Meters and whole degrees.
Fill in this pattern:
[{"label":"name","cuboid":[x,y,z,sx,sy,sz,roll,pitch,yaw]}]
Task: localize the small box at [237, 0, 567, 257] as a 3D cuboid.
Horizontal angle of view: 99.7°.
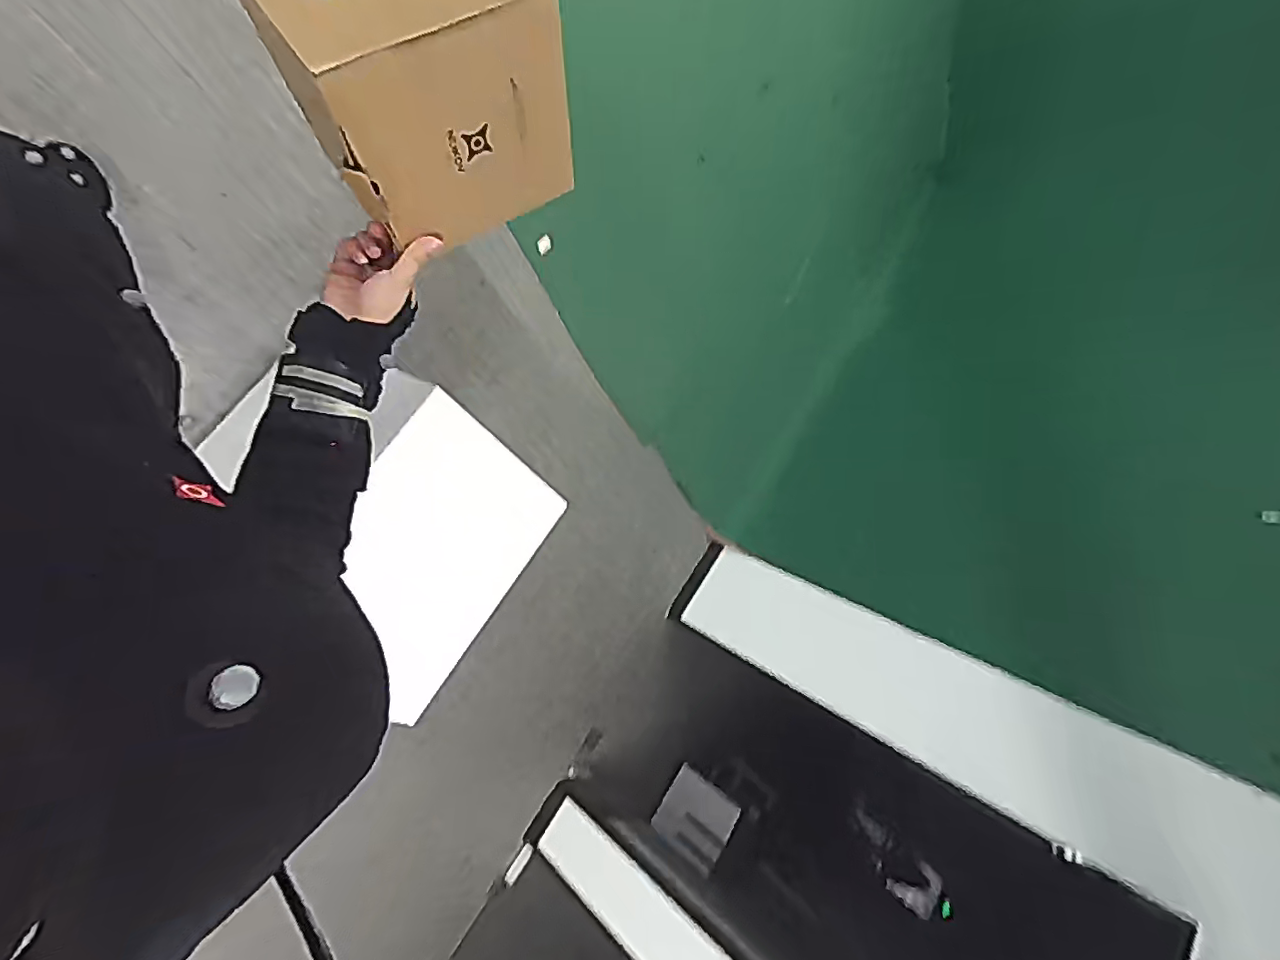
[{"label":"small box","cuboid":[-0.182,-0.326,0.429,0.179,0.176,0.168,-36,167,-13]}]
